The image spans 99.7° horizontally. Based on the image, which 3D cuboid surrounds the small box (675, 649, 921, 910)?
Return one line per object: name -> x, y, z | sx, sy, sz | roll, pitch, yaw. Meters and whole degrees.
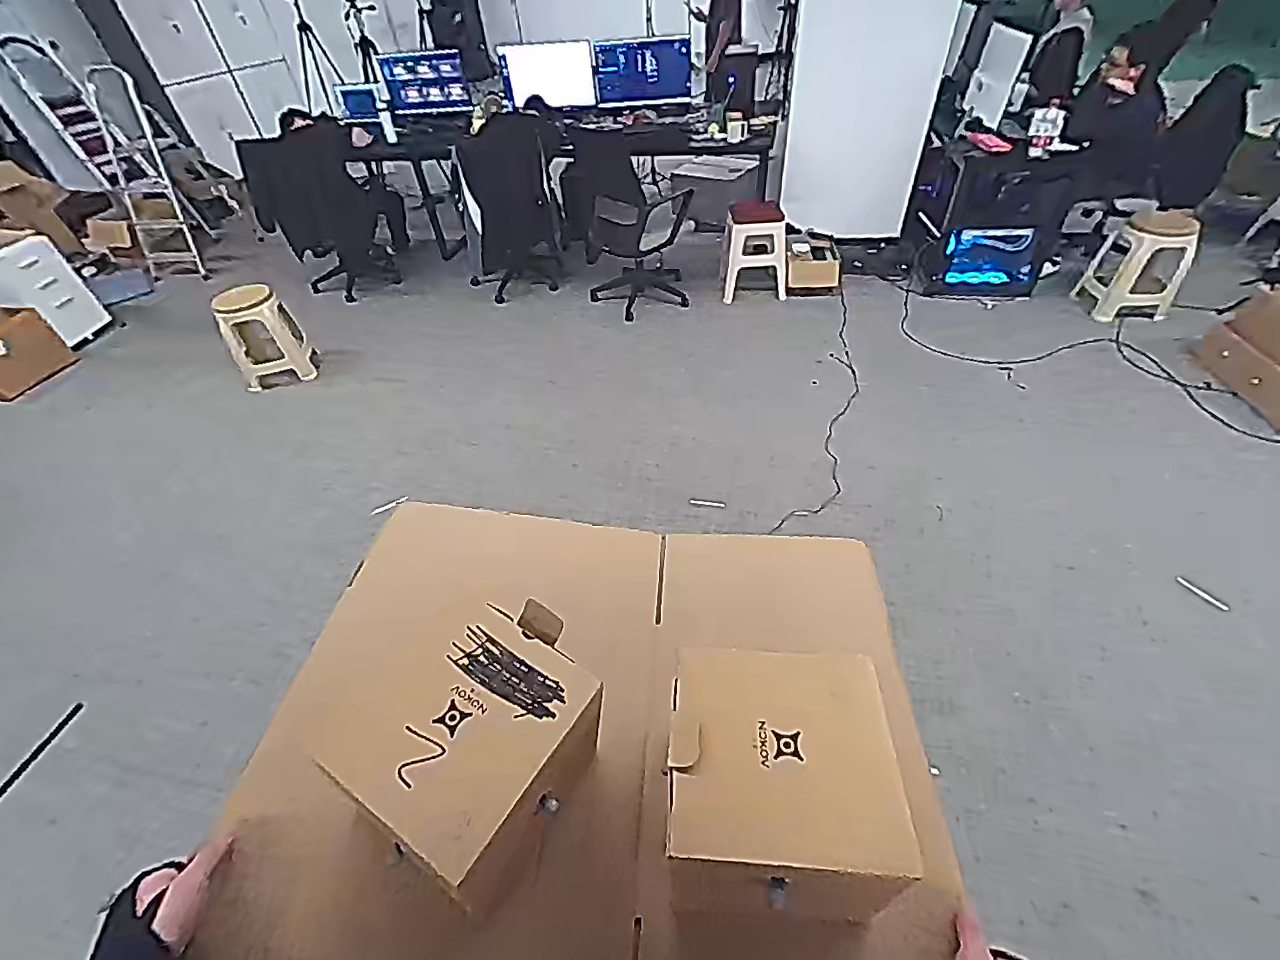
small box -> 0.124, 0.276, 0.498 | 0.179, 0.176, 0.168 | 0, 43, 6
